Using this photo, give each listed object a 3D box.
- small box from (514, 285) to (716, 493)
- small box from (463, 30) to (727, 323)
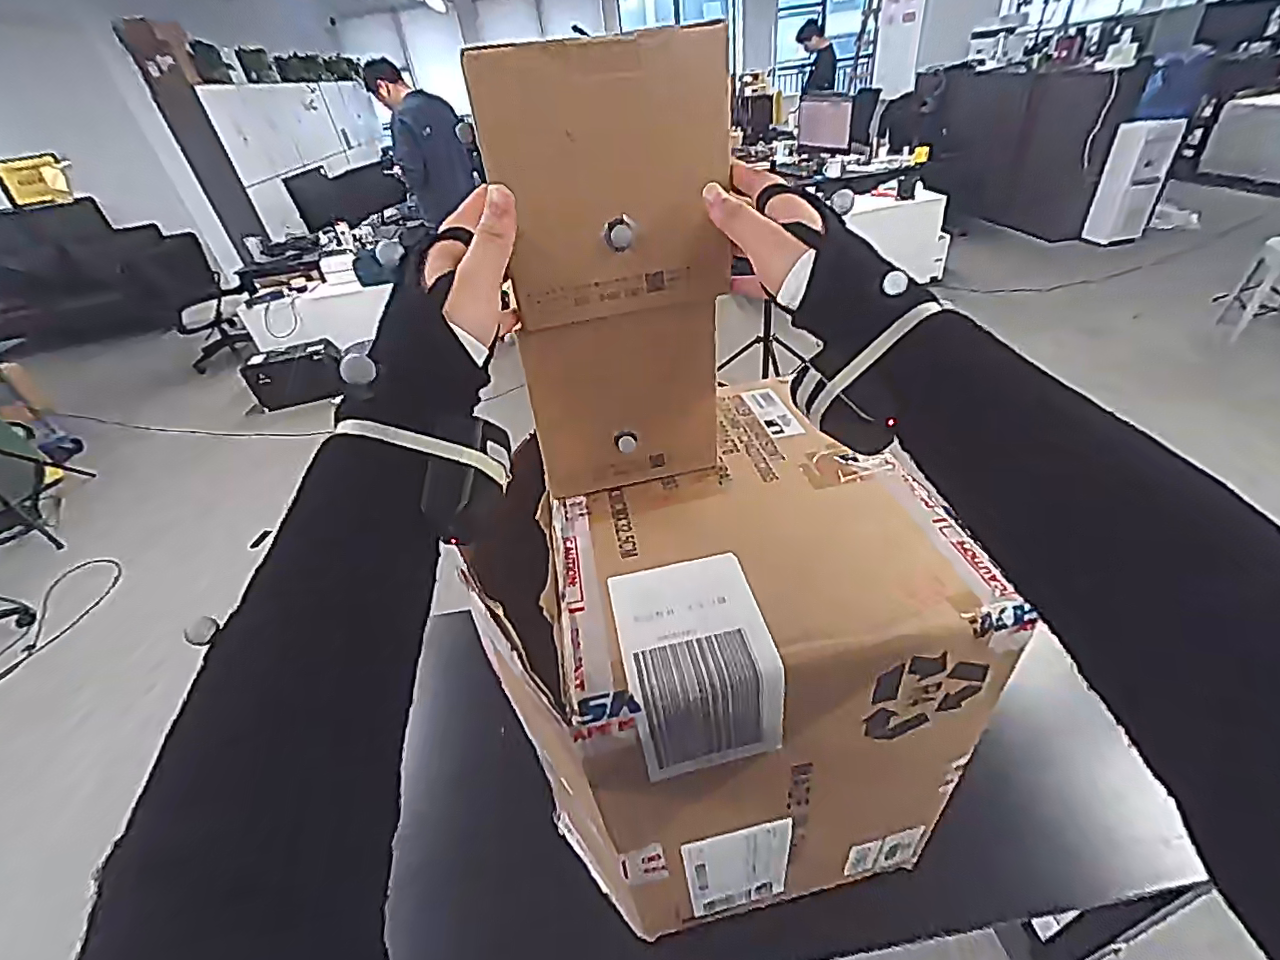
[{"bbox_3d":[-0.028,-0.112,0.545,0.168,0.176,0.179,-12,36,-7],"label":"small box"},{"bbox_3d":[-0.036,-0.241,0.441,0.168,0.176,0.179,-13,36,-7],"label":"small box"}]
